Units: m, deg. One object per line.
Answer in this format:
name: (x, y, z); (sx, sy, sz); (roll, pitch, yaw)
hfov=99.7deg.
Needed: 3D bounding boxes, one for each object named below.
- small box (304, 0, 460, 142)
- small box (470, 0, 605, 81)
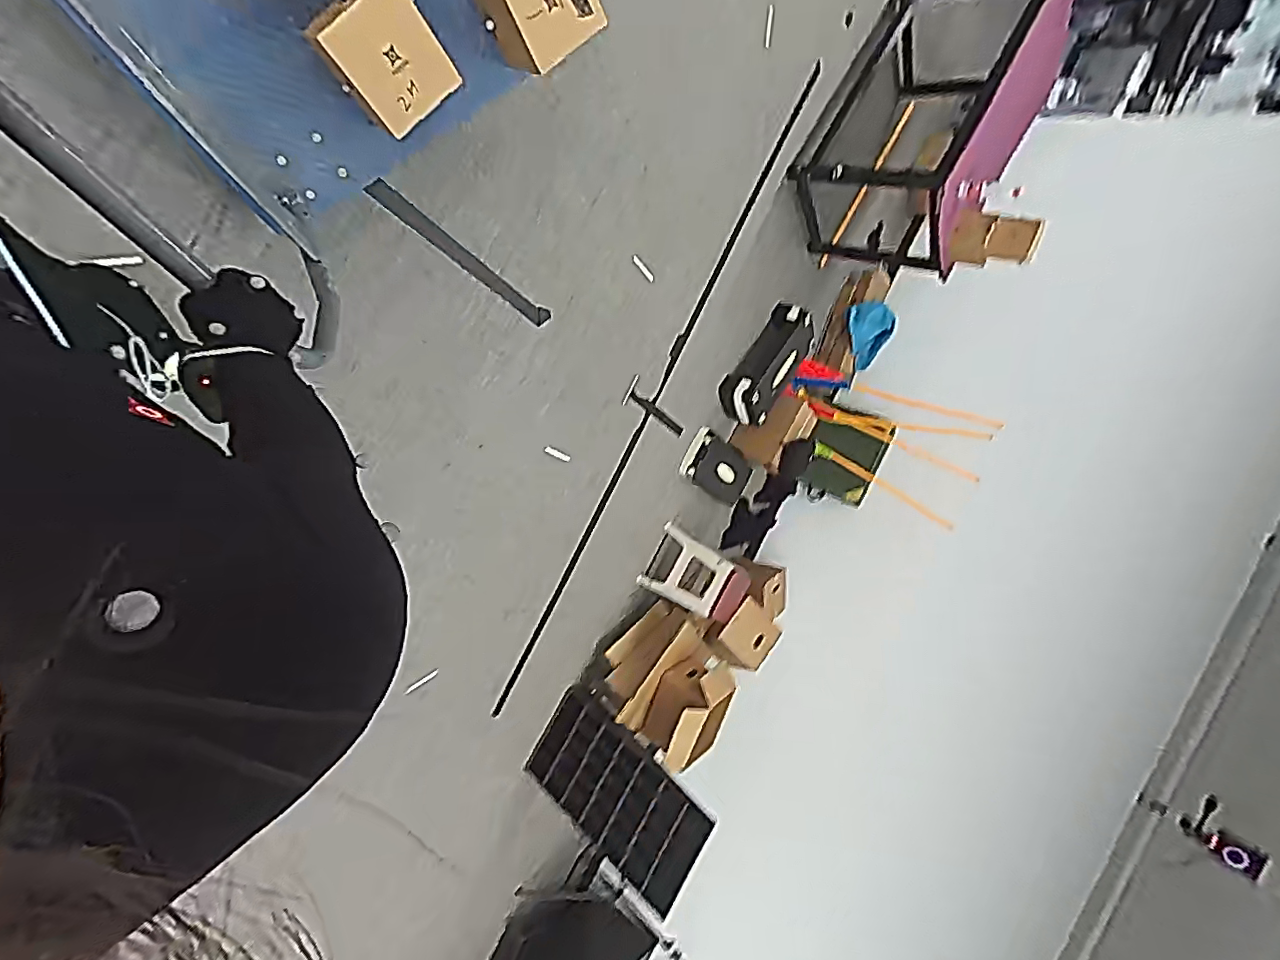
small box: (-0.467, -0.755, 0.974); (0.168, 0.176, 0.179); (-42, 142, -2)
small box: (-0.205, -0.923, 1.053); (0.179, 0.176, 0.168); (-40, 141, -4)
